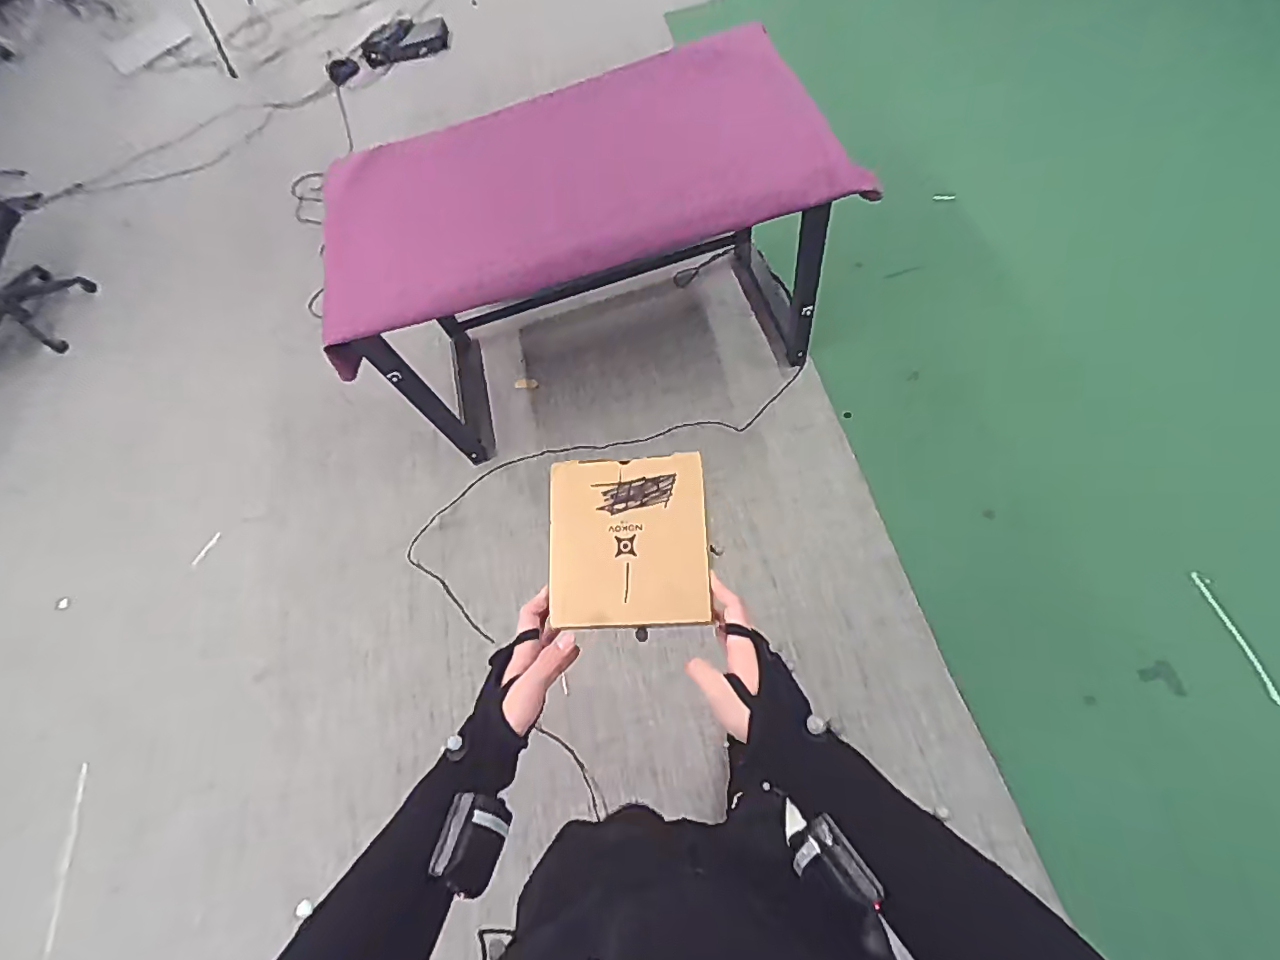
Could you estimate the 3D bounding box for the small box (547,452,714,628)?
[{"bbox_3d":[-0.002,0.080,0.632,0.168,0.176,0.179,-4,74,9],"label":"small box"}]
